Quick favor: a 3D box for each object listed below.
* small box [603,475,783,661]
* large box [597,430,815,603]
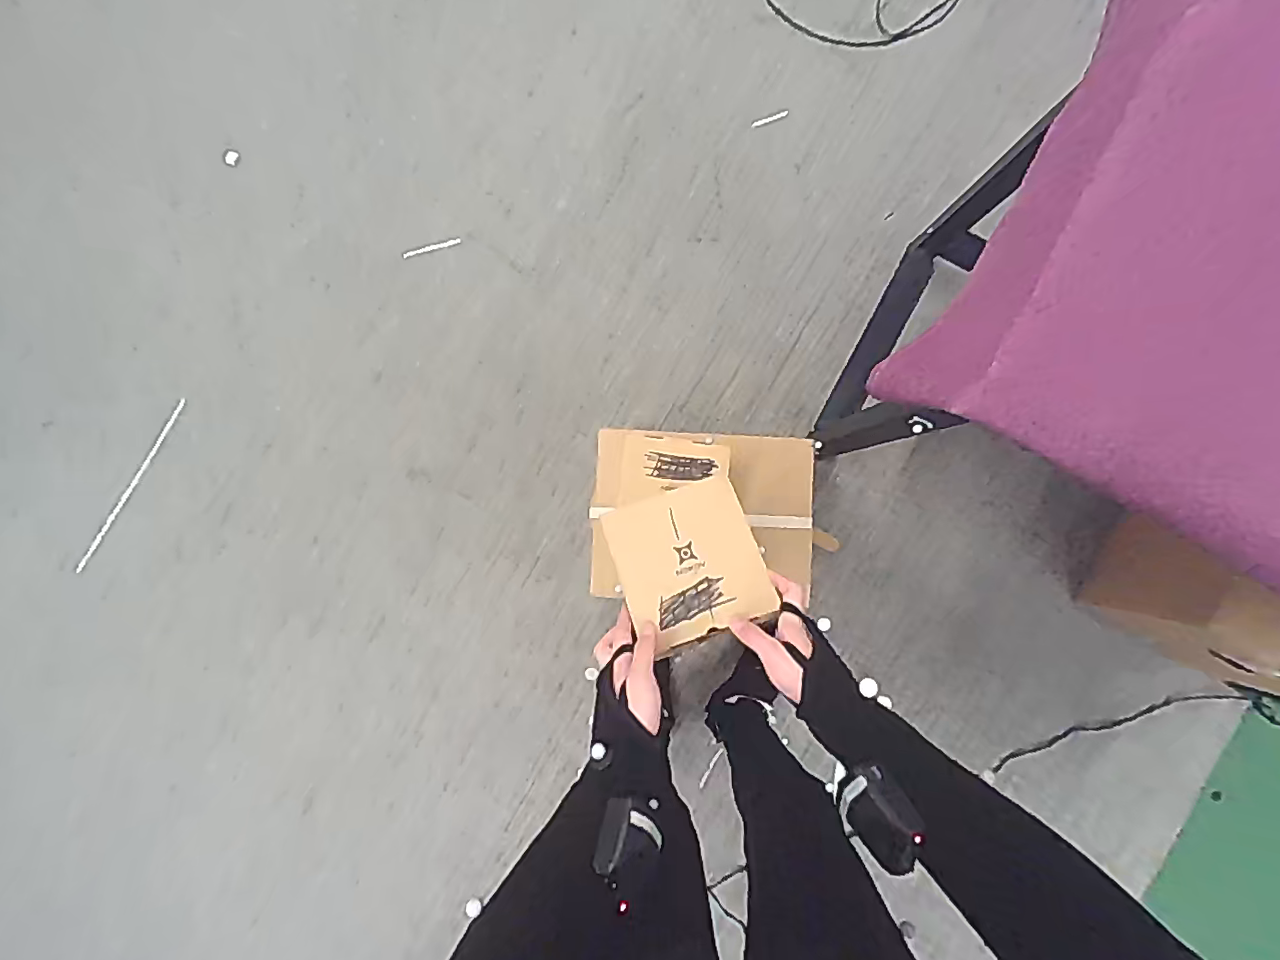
[{"bbox_3d":[0.066,0.121,0.694,0.168,0.176,0.179,-19,69,-1],"label":"small box"},{"bbox_3d":[0.119,0.076,1.142,0.408,0.320,0.320,2,88,-1],"label":"large box"}]
